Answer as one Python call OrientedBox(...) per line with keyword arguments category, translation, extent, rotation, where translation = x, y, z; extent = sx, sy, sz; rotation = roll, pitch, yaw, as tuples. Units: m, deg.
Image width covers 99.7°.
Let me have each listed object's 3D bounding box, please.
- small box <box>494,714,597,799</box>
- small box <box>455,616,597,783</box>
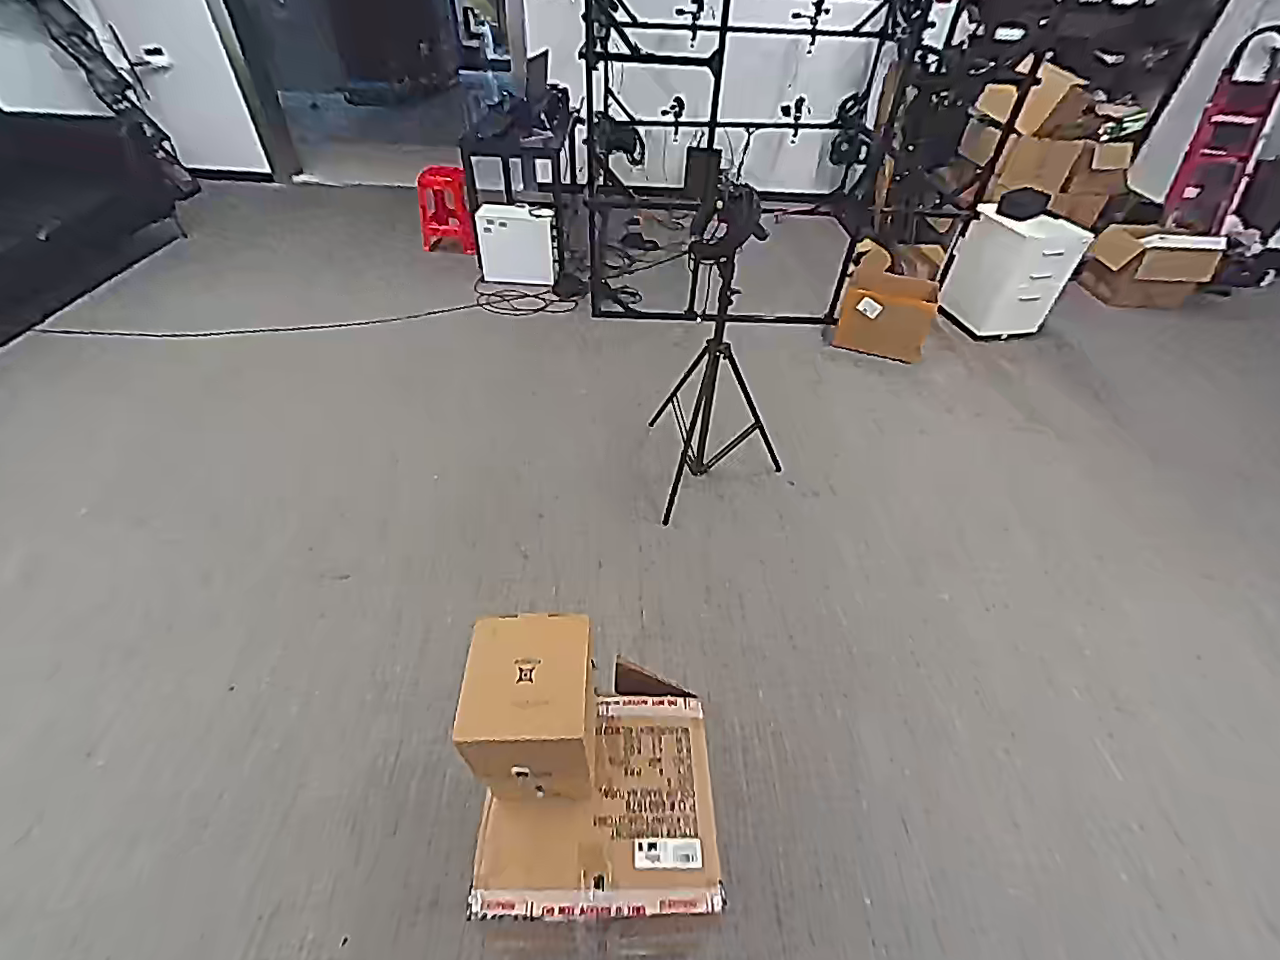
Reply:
OrientedBox(category="small box", translation=(-0.160, 0.416, 0.910), extent=(0.168, 0.176, 0.179), rotation=(-1, 46, -2))
OrientedBox(category="small box", translation=(-0.150, 0.316, 0.780), extent=(0.168, 0.176, 0.179), rotation=(-1, 46, -1))
